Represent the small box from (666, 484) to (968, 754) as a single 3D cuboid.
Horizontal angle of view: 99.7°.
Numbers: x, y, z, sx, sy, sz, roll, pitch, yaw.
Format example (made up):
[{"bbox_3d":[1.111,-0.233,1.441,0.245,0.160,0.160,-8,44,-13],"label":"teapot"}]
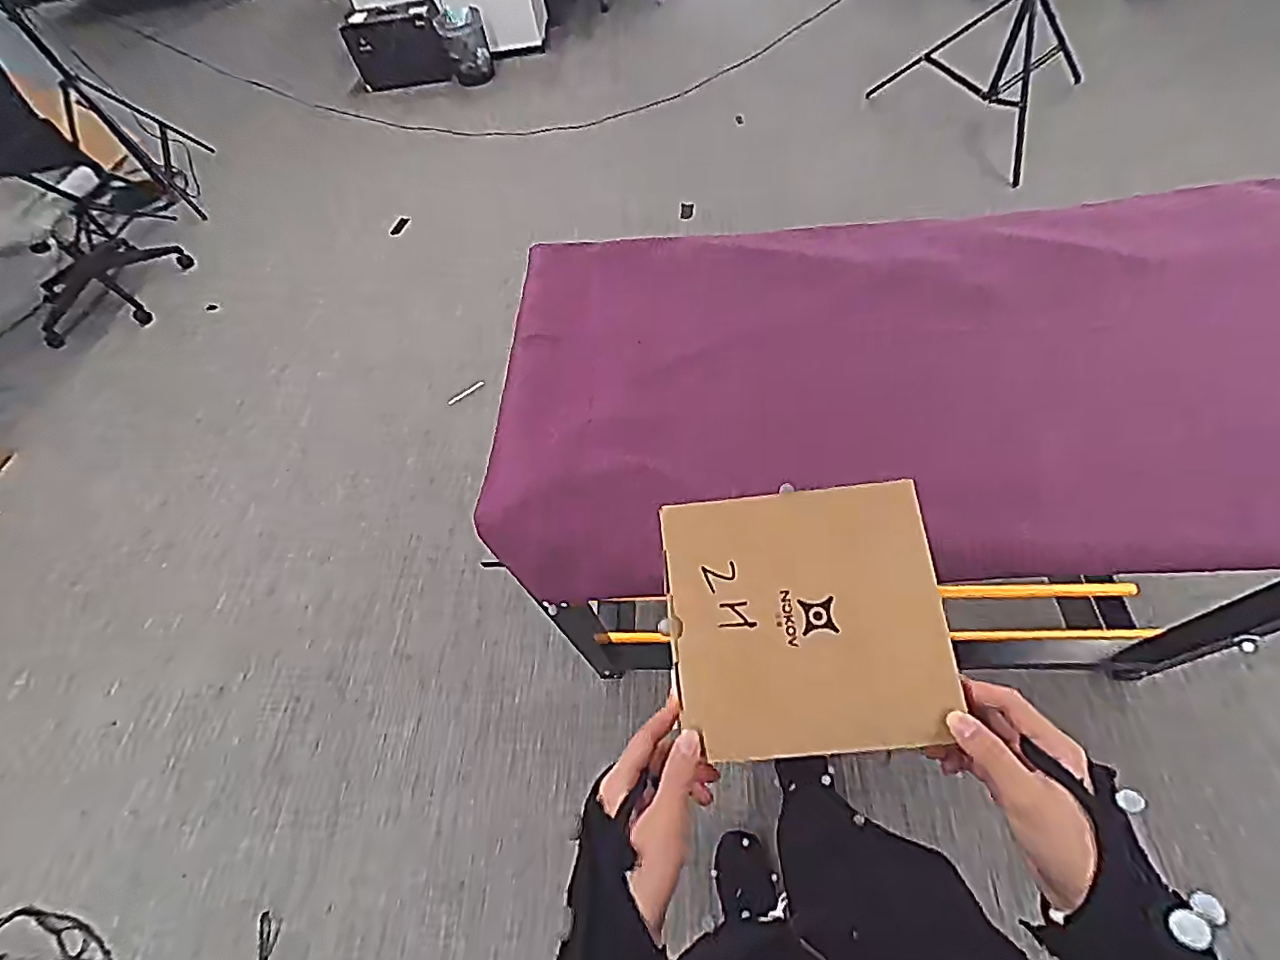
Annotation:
[{"bbox_3d":[0.117,0.108,0.431,0.179,0.176,0.168,-6,73,5],"label":"small box"}]
